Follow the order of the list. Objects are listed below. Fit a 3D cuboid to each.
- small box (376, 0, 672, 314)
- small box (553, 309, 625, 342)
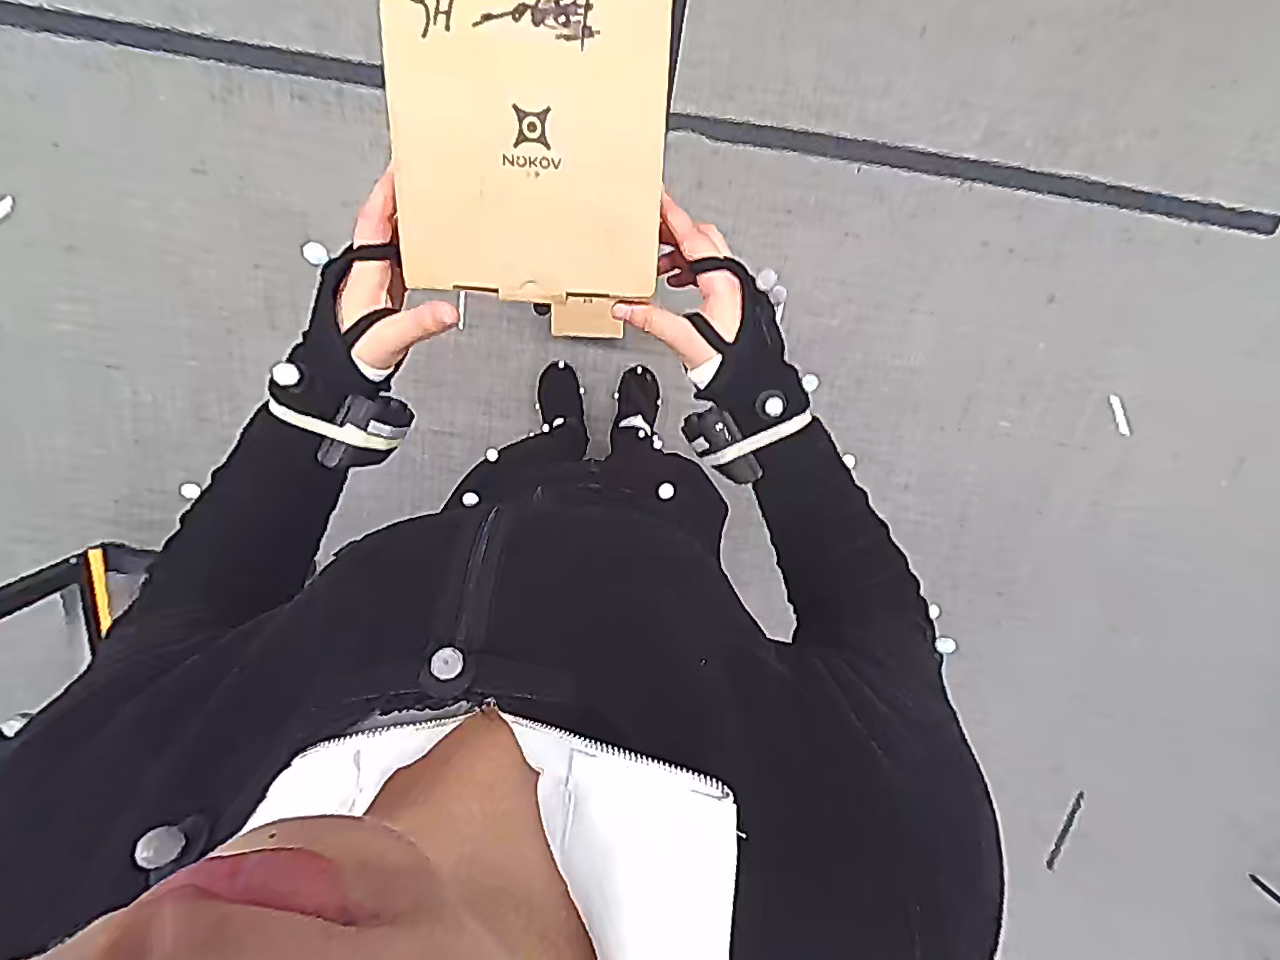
[{"bbox_3d":[-0.071,-0.223,0.400,0.168,0.176,0.179,1,110,-5],"label":"small box"},{"bbox_3d":[-0.117,-0.426,1.288,0.168,0.176,0.179,2,108,-2],"label":"small box"}]
